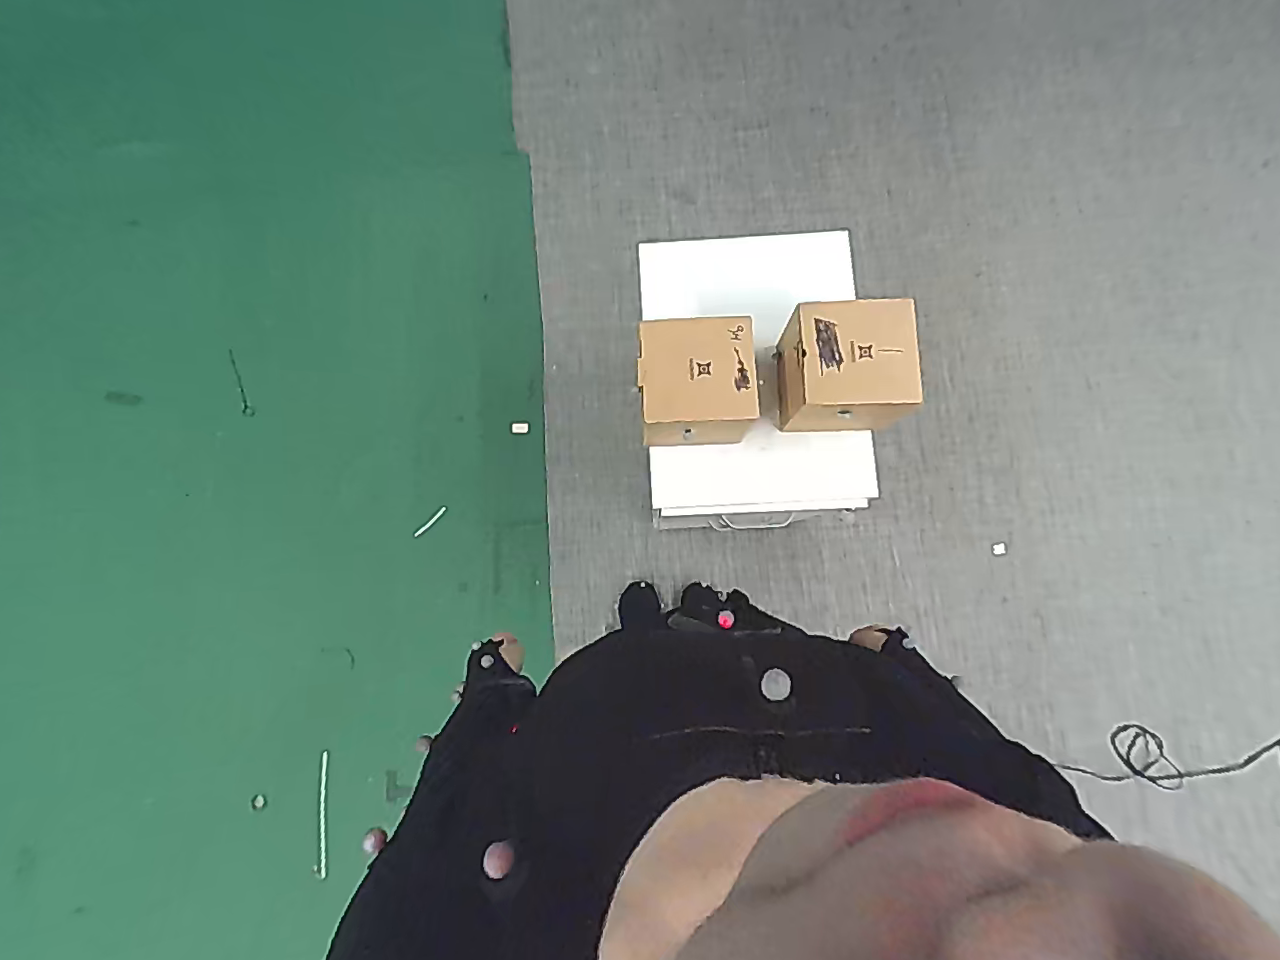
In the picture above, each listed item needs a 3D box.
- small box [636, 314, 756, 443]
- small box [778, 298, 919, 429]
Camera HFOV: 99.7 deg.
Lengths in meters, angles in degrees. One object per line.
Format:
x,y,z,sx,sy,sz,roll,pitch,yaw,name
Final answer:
0.086,-0.159,0.895,0.179,0.176,0.168,-2,82,0,small box
0.329,-0.184,0.893,0.179,0.176,0.168,-1,81,1,small box
